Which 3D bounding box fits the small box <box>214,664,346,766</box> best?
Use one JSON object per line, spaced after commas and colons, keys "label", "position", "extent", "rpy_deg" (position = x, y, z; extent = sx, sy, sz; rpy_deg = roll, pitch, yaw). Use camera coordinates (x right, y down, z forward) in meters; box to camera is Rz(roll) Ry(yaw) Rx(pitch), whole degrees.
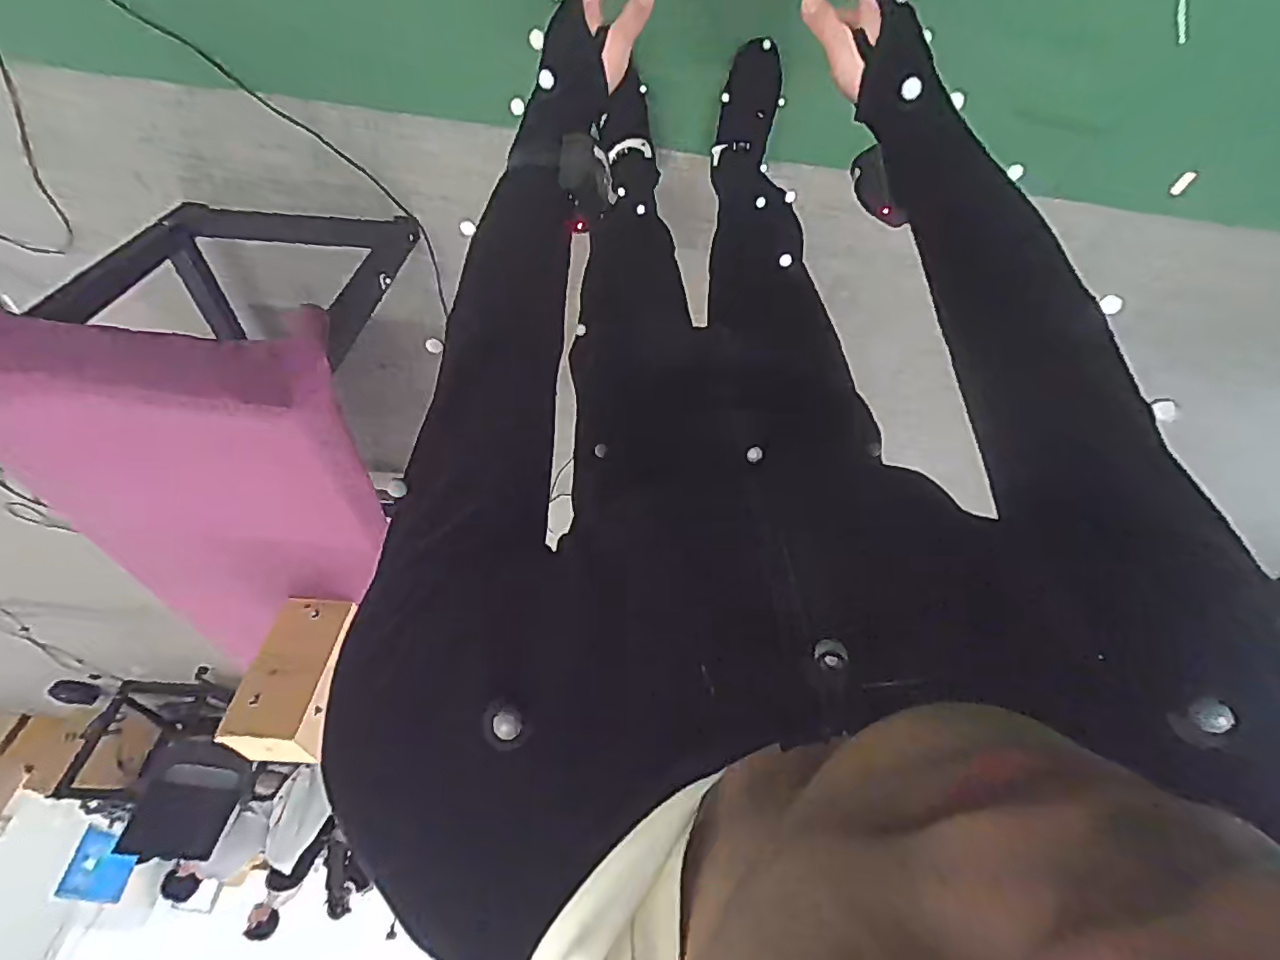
{"label": "small box", "position": [-0.808, 0.536, 1.235], "extent": [0.168, 0.176, 0.179], "rpy_deg": [5, 138, -2]}
